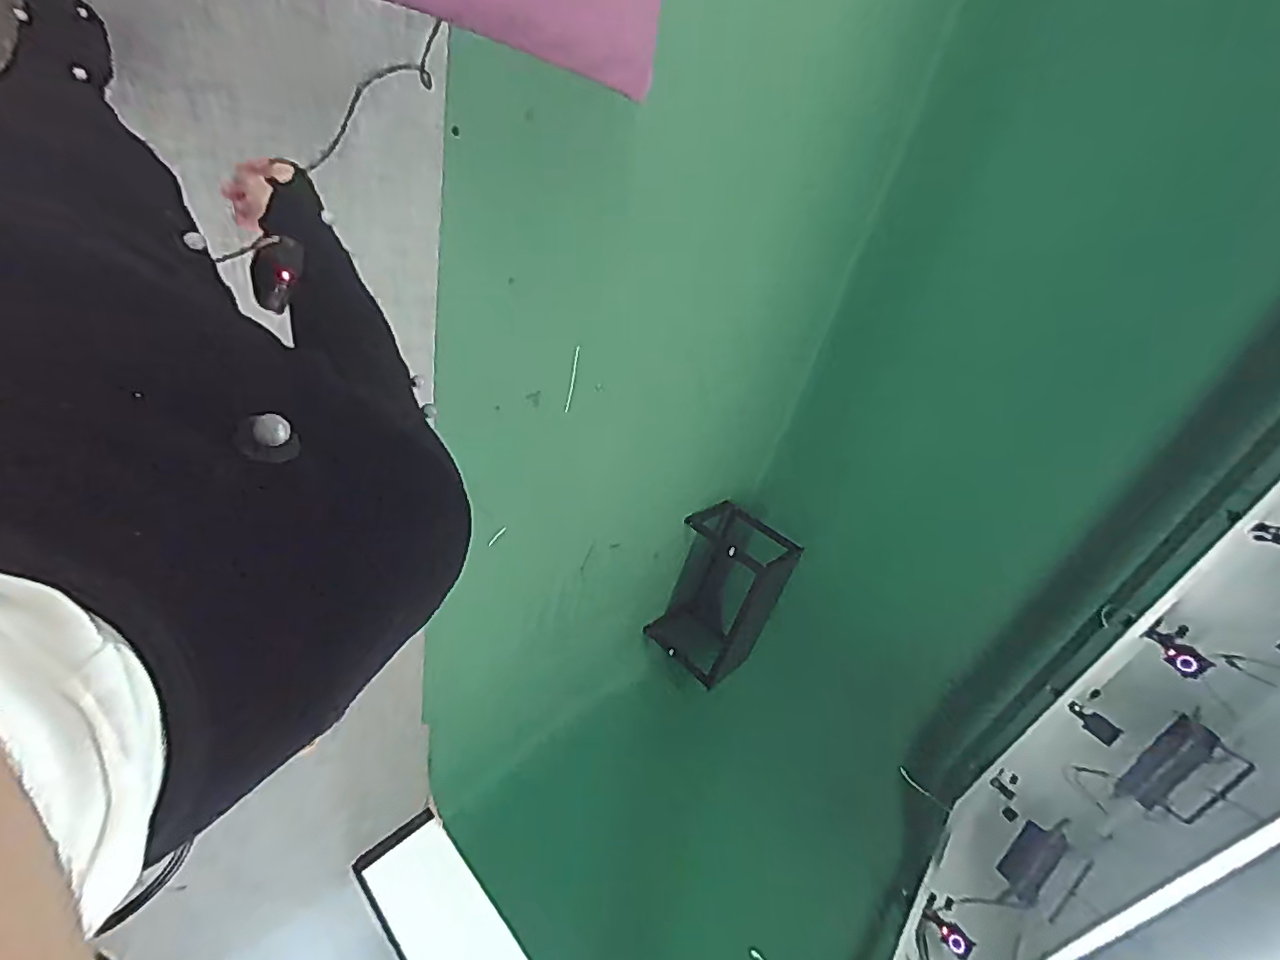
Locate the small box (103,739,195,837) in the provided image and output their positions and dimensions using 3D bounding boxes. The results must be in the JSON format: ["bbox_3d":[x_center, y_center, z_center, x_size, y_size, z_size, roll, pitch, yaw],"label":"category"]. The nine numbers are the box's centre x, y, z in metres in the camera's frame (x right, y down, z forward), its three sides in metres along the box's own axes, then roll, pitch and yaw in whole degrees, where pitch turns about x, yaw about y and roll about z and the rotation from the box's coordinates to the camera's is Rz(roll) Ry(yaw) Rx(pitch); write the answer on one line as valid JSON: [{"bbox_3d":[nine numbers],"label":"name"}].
[{"bbox_3d":[-1.579,0.982,1.736,0.179,0.176,0.168,-24,138,-42],"label":"small box"}]
